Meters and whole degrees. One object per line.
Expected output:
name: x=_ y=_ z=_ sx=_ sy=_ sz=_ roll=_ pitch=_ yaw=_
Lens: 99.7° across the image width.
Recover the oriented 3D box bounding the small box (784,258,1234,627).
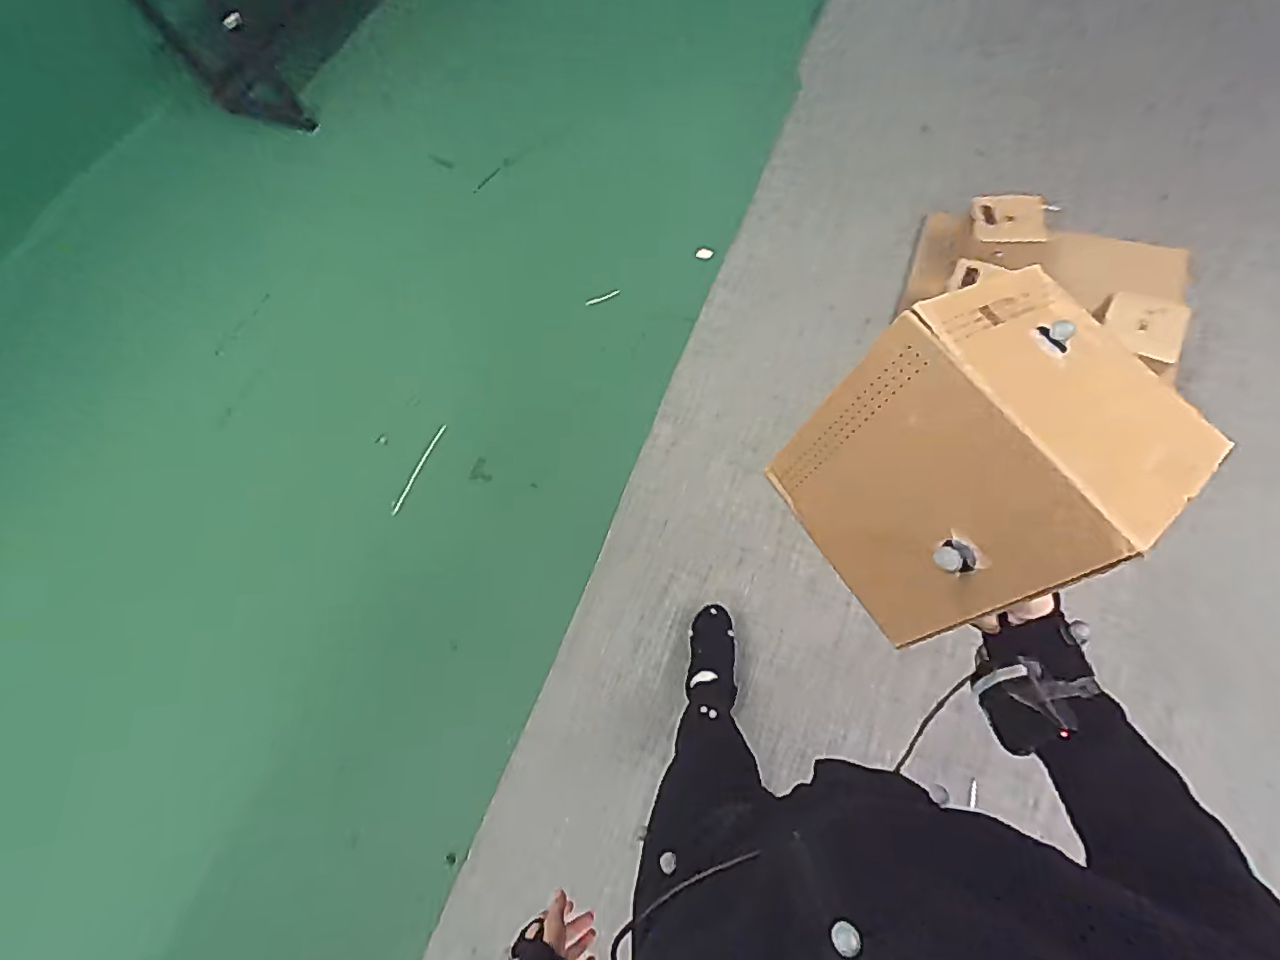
small box: x=0.232 y=-0.026 z=0.385 sx=0.168 sy=0.179 sz=0.176 roll=-21 pitch=68 yaw=-29

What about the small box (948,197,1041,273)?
small box: x=1.011 y=-0.685 z=1.560 sx=0.179 sy=0.176 sz=0.168 roll=5 pitch=69 yaw=10

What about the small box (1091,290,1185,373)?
small box: x=1.220 y=-0.343 z=1.382 sx=0.168 sy=0.176 sz=0.179 roll=26 pitch=74 yaw=17
